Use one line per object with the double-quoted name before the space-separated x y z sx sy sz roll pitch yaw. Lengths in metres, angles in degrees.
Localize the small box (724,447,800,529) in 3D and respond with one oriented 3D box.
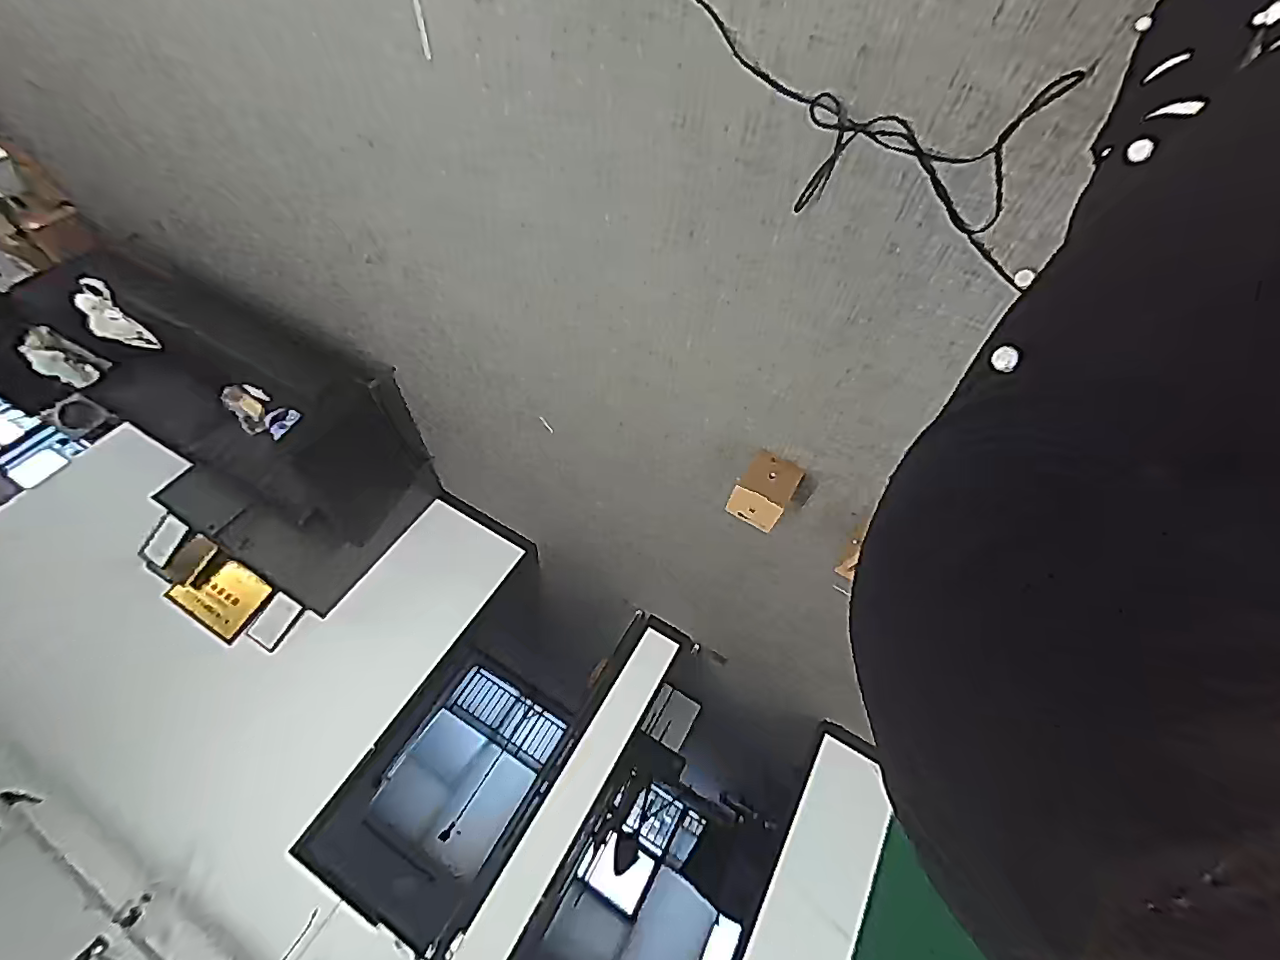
"small box" 0.402 0.023 1.765 0.168 0.176 0.179 30 150 11
